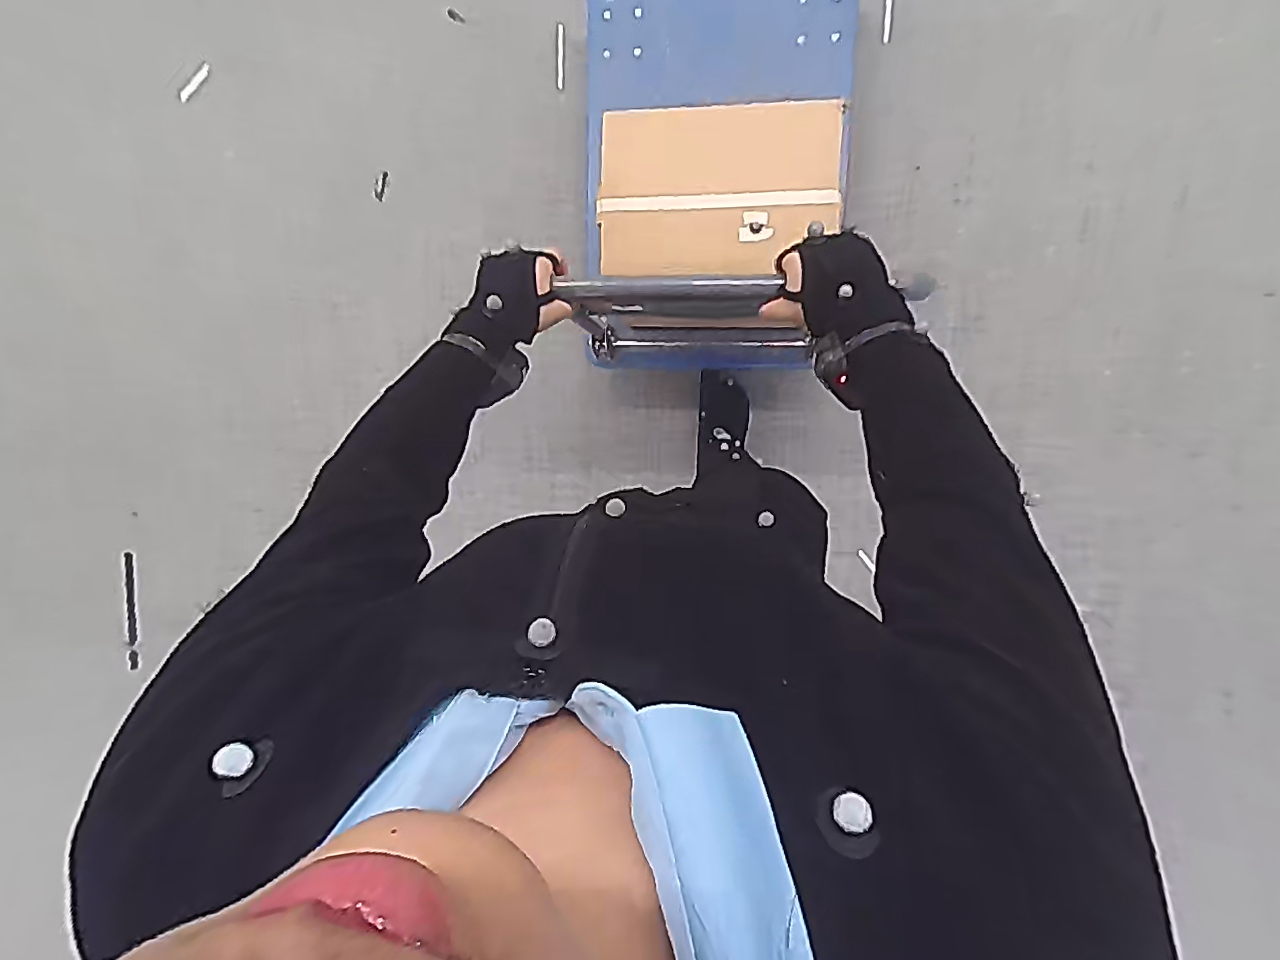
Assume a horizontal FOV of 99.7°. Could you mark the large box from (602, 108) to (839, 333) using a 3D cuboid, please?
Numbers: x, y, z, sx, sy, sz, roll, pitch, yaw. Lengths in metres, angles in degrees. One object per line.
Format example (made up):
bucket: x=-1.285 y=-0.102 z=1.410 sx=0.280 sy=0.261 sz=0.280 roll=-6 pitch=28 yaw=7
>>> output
large box: x=0.145 y=-0.479 z=1.074 sx=0.408 sy=0.320 sz=0.320 roll=2 pitch=96 yaw=6
